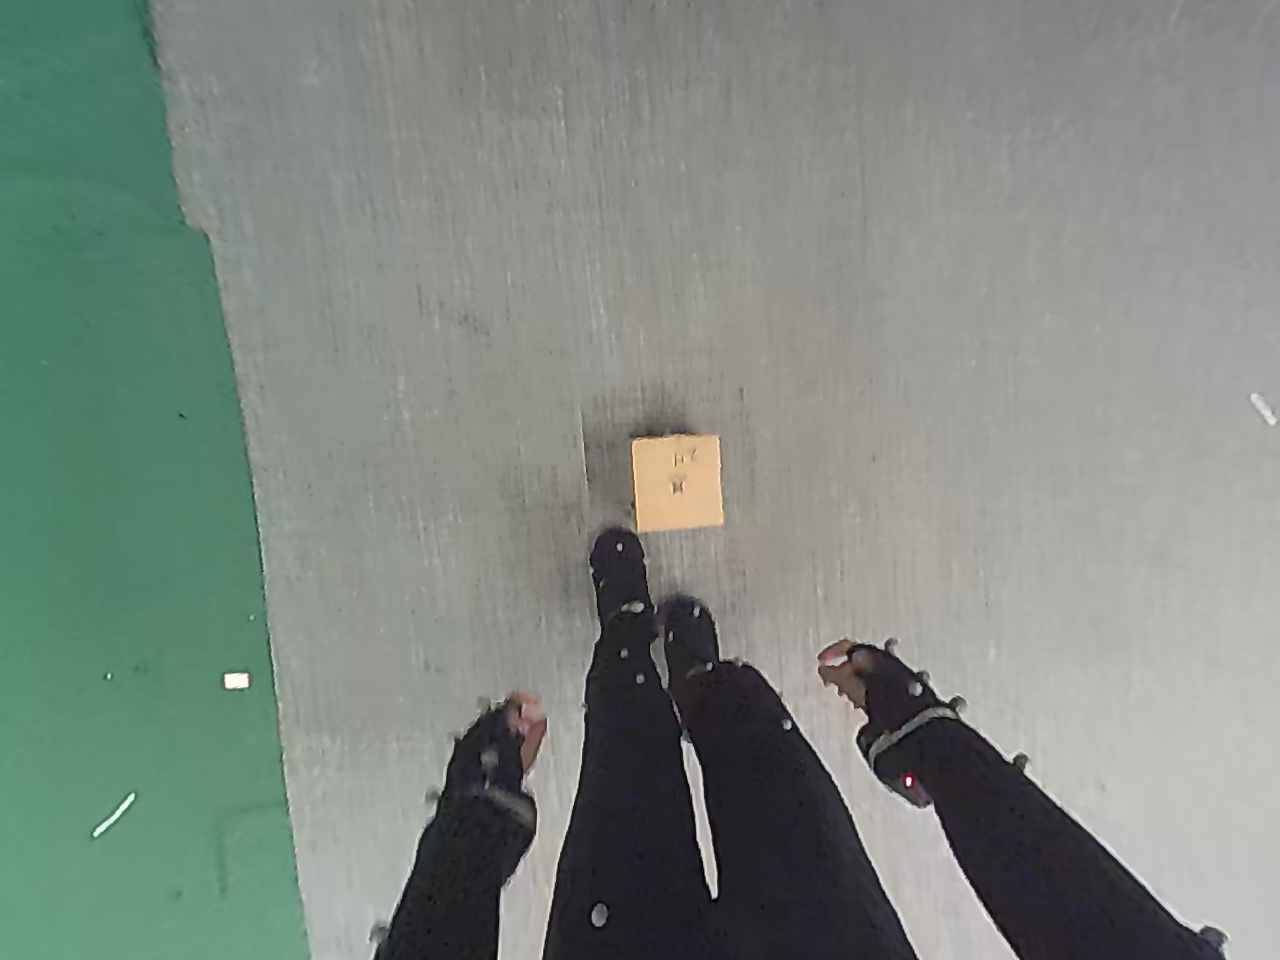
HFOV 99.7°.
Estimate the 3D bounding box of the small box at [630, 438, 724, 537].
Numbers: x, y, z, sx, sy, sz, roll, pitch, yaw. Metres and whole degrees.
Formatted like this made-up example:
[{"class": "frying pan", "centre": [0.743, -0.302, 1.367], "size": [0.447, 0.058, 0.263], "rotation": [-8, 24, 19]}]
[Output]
[{"class": "small box", "centre": [0.070, 0.008, 1.087], "size": [0.168, 0.176, 0.179], "rotation": [-4, 95, -4]}]
